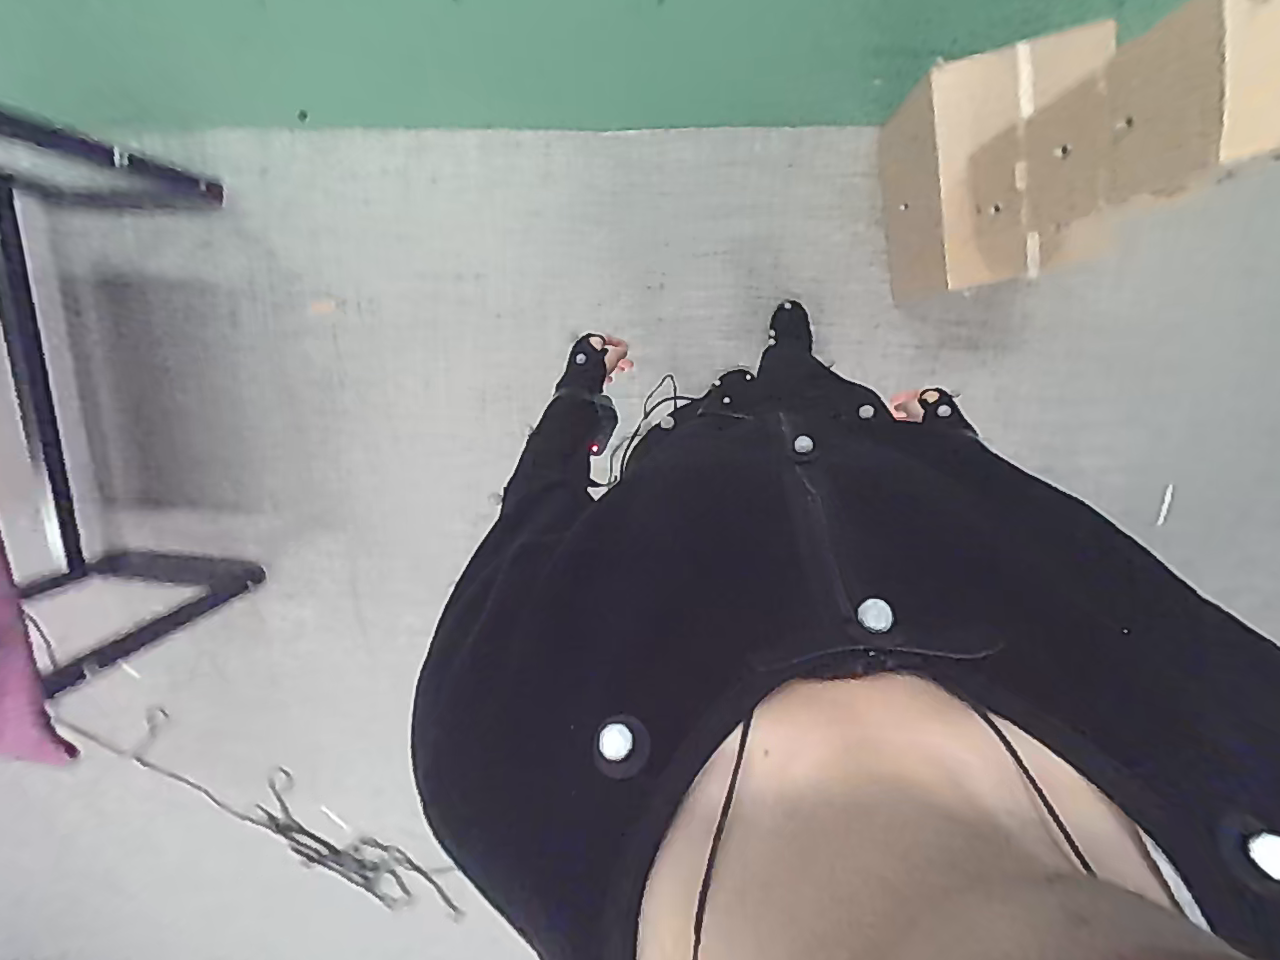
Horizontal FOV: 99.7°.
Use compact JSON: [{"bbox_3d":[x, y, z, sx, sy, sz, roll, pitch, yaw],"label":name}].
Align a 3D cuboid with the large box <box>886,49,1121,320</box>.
[{"bbox_3d":[0.753,-0.588,1.165,0.320,0.320,0.408,-8,101,6],"label":"large box"}]
